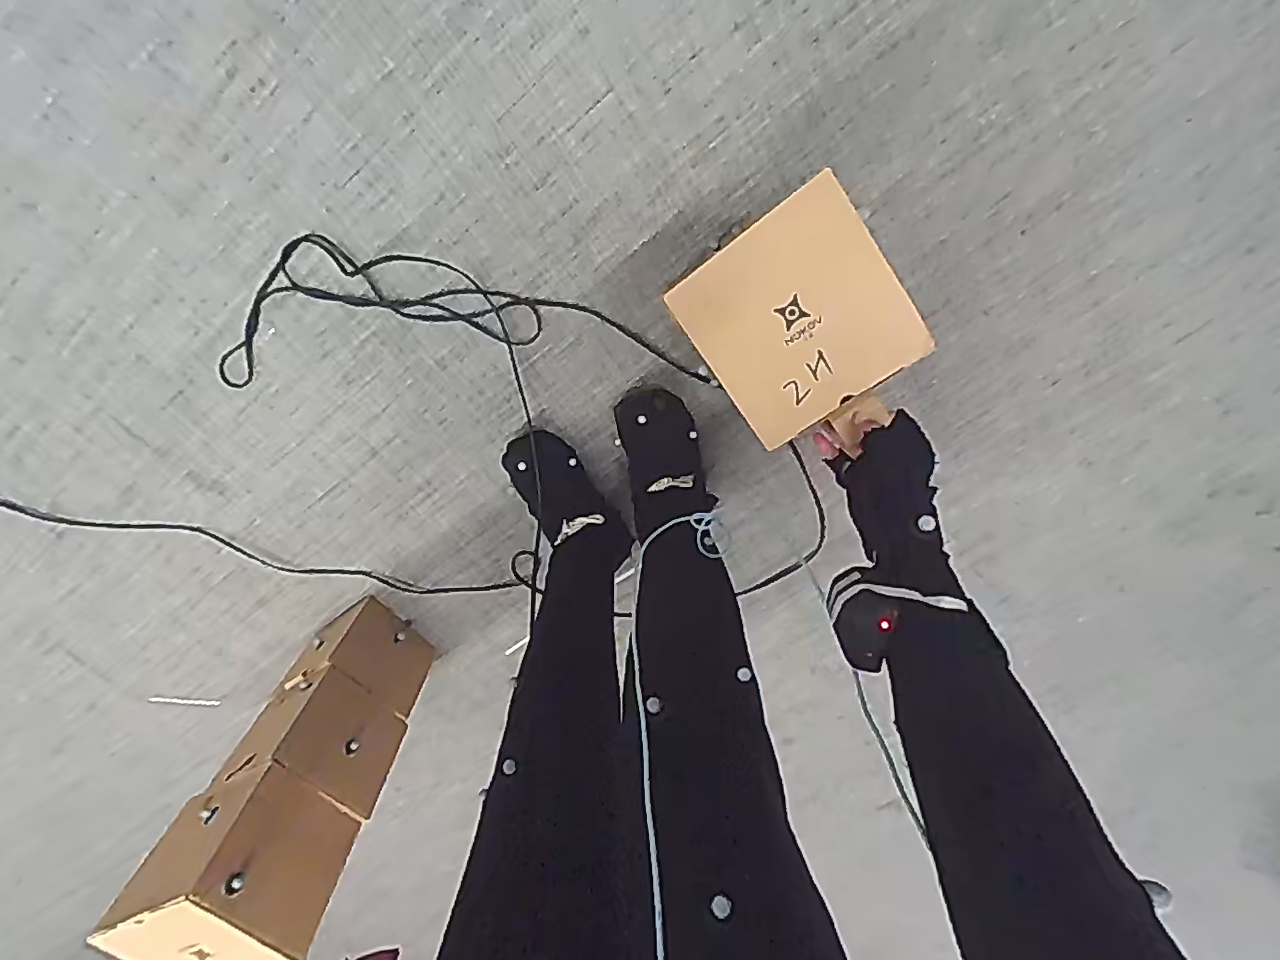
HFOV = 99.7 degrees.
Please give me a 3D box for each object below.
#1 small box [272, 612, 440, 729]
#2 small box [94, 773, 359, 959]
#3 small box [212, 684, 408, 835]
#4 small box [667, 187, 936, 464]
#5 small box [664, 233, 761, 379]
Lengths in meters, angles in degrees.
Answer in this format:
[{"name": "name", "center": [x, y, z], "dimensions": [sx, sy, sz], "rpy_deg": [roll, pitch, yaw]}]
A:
[{"name": "small box", "center": [-0.508, 0.369, 0.993], "dimensions": [0.168, 0.176, 0.179], "rpy_deg": [-34, 110, 18]}, {"name": "small box", "center": [-0.512, 0.524, 0.703], "dimensions": [0.168, 0.176, 0.179], "rpy_deg": [-28, 113, 12]}, {"name": "small box", "center": [-0.507, 0.449, 0.847], "dimensions": [0.168, 0.176, 0.179], "rpy_deg": [-32, 113, 14]}, {"name": "small box", "center": [0.148, -0.147, 0.537], "dimensions": [0.168, 0.176, 0.179], "rpy_deg": [-33, 100, 20]}, {"name": "small box", "center": [0.149, -0.207, 0.721], "dimensions": [0.168, 0.176, 0.179], "rpy_deg": [-37, 111, 15]}]
